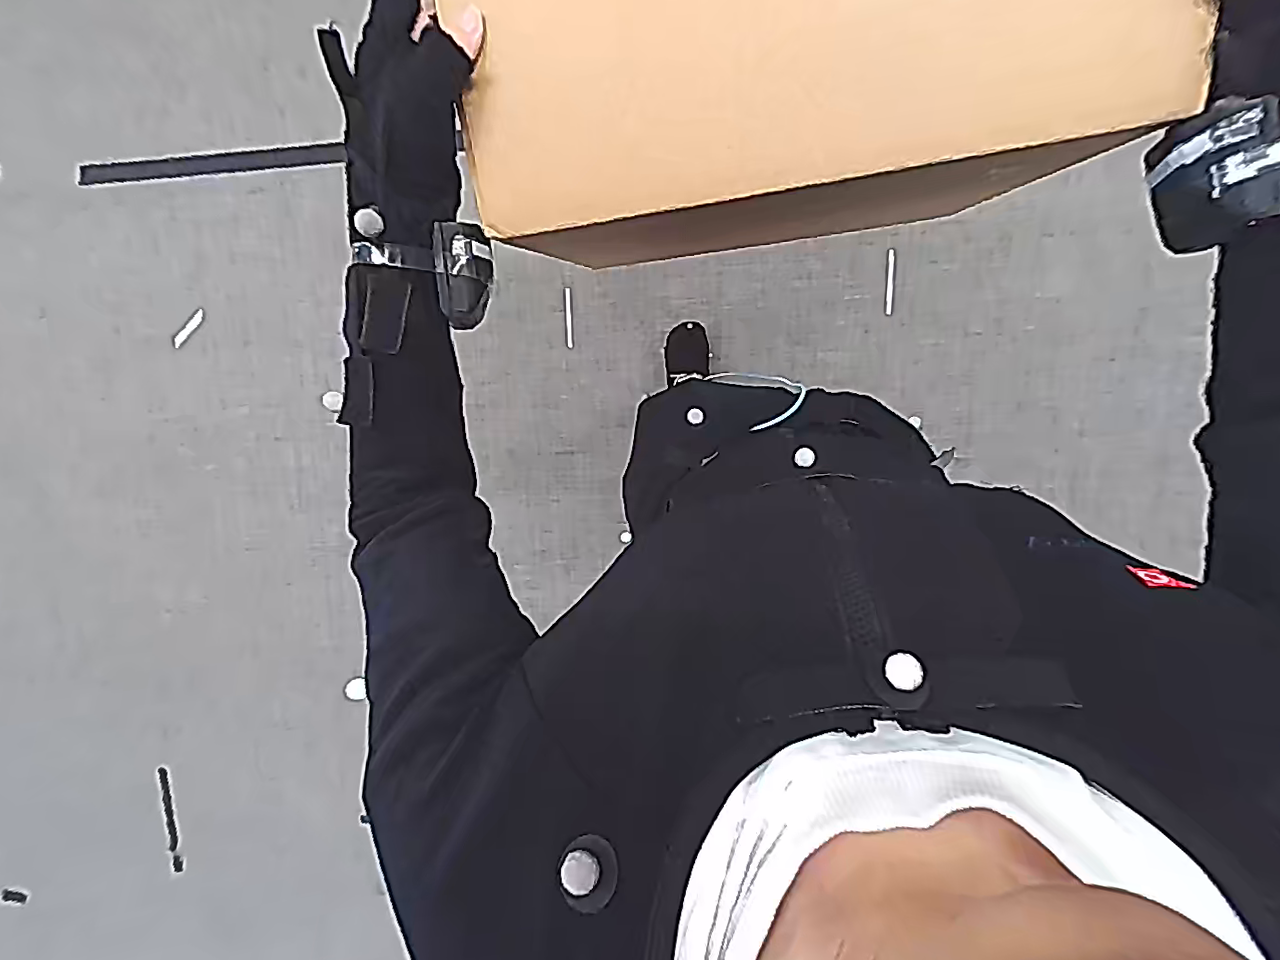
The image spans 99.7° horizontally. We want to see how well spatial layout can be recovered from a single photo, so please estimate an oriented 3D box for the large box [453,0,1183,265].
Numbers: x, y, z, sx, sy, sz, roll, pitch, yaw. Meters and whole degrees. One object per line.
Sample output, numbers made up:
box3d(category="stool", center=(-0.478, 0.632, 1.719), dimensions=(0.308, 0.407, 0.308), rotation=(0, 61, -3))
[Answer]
box3d(category="large box", center=(0.094, -0.377, 0.430), dimensions=(0.408, 0.320, 0.320), rotation=(-6, 107, 9))
